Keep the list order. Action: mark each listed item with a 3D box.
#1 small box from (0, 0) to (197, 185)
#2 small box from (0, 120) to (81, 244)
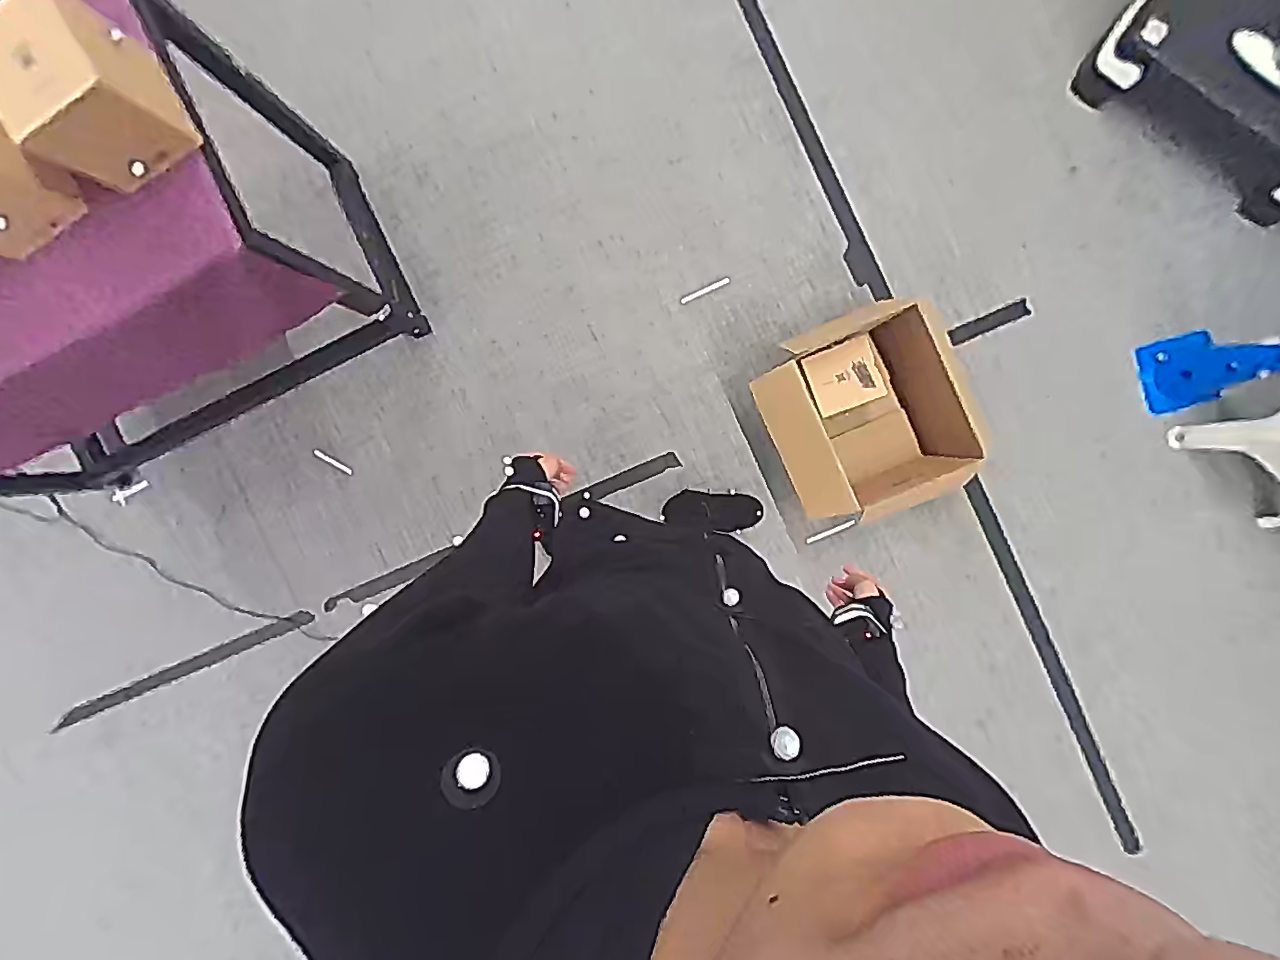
[{"bbox_3d":[-0.859,-0.609,0.842,0.168,0.176,0.179,-29,91,7],"label":"small box"},{"bbox_3d":[-1.075,-0.507,0.864,0.168,0.176,0.179,-30,91,5],"label":"small box"}]
